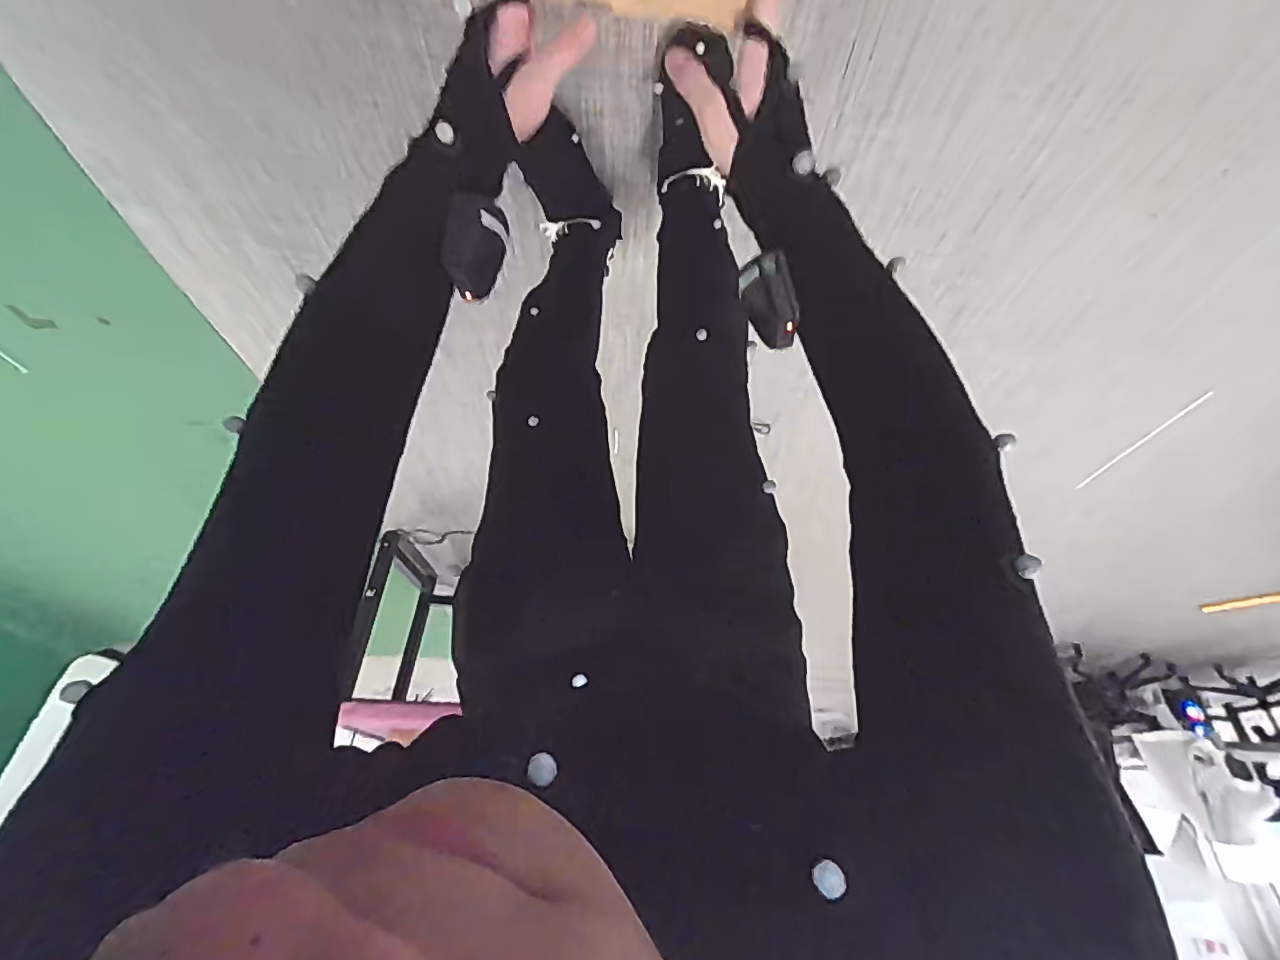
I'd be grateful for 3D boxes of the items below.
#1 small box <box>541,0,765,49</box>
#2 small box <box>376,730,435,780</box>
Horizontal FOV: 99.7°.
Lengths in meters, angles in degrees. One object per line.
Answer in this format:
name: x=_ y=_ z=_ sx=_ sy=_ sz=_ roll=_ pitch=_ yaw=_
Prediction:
small box: x=0.019 y=-0.450 z=0.398 sx=0.168 sy=0.176 sz=0.179 roll=7 pitch=134 yaw=-5
small box: x=-0.962 y=1.137 z=2.232 sx=0.168 sy=0.176 sz=0.179 roll=2 pitch=148 yaw=-4
